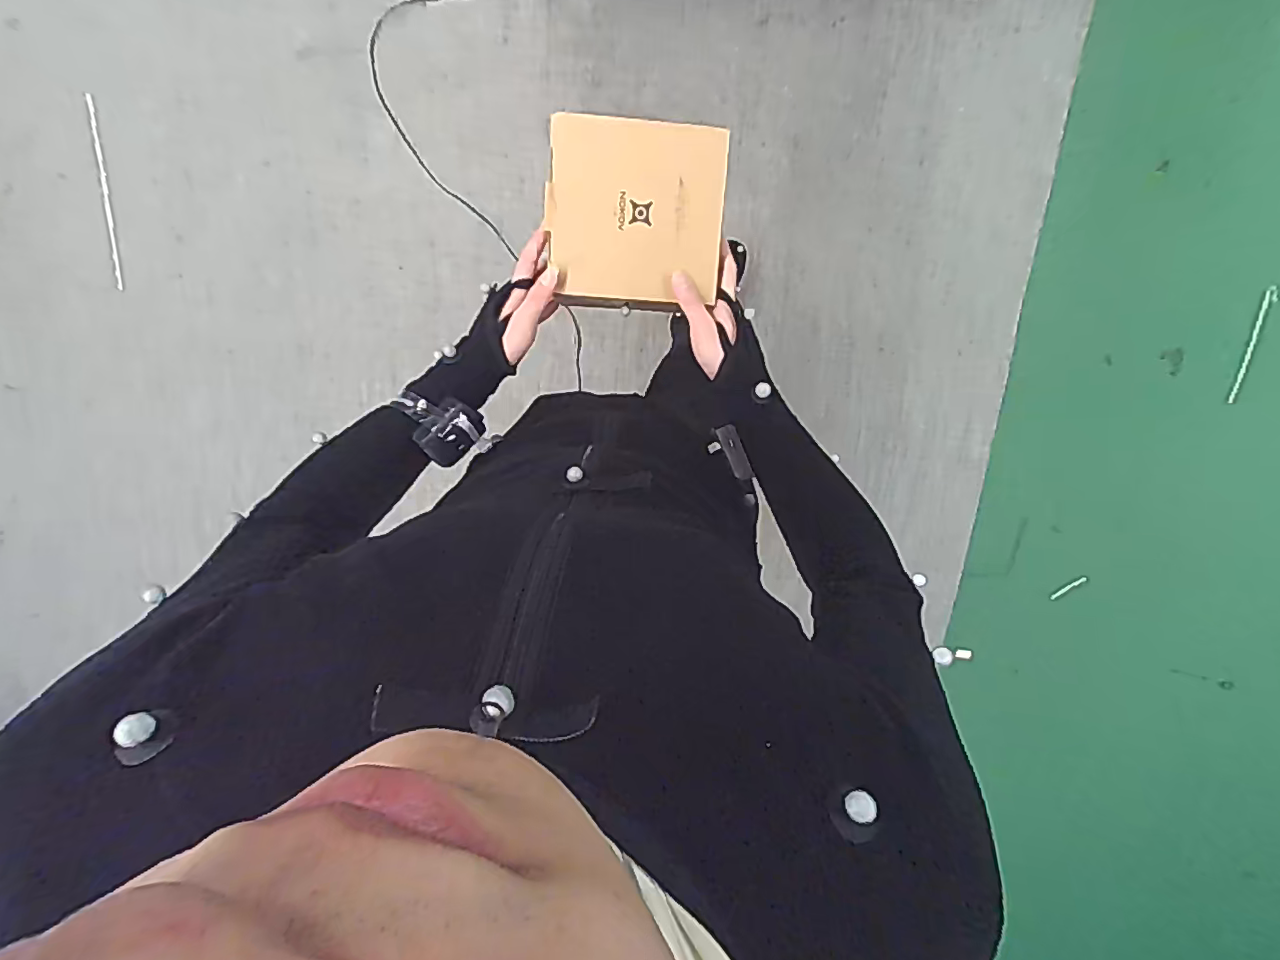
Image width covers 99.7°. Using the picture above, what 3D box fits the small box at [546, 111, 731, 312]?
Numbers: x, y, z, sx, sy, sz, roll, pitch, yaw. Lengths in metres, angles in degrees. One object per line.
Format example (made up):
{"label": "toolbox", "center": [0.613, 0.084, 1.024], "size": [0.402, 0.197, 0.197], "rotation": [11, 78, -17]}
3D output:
{"label": "small box", "center": [-0.008, -0.284, 0.612], "size": [0.179, 0.176, 0.168], "rotation": [3, 104, -5]}
